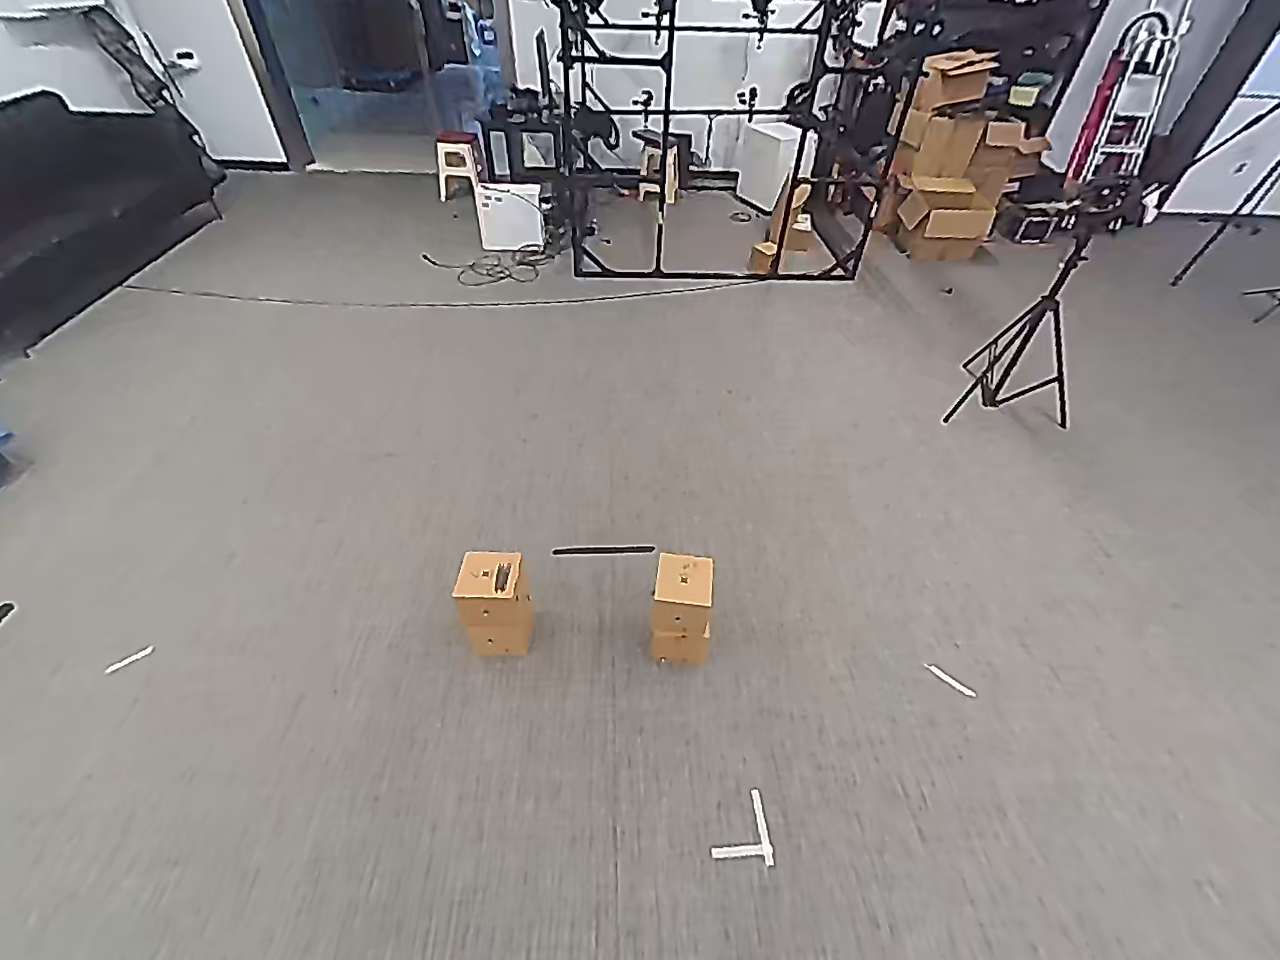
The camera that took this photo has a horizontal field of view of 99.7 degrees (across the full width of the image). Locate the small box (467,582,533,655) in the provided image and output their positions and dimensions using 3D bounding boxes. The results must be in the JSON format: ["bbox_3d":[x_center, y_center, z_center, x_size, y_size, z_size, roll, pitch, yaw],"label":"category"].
[{"bbox_3d":[-0.446,0.452,1.754,0.168,0.176,0.179,1,43,-1],"label":"small box"}]

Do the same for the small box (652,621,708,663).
[{"bbox_3d":[0.128,0.476,1.752,0.168,0.176,0.179,3,43,-1],"label":"small box"}]

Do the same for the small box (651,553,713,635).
[{"bbox_3d":[0.127,0.349,1.646,0.168,0.176,0.179,7,44,3],"label":"small box"}]
